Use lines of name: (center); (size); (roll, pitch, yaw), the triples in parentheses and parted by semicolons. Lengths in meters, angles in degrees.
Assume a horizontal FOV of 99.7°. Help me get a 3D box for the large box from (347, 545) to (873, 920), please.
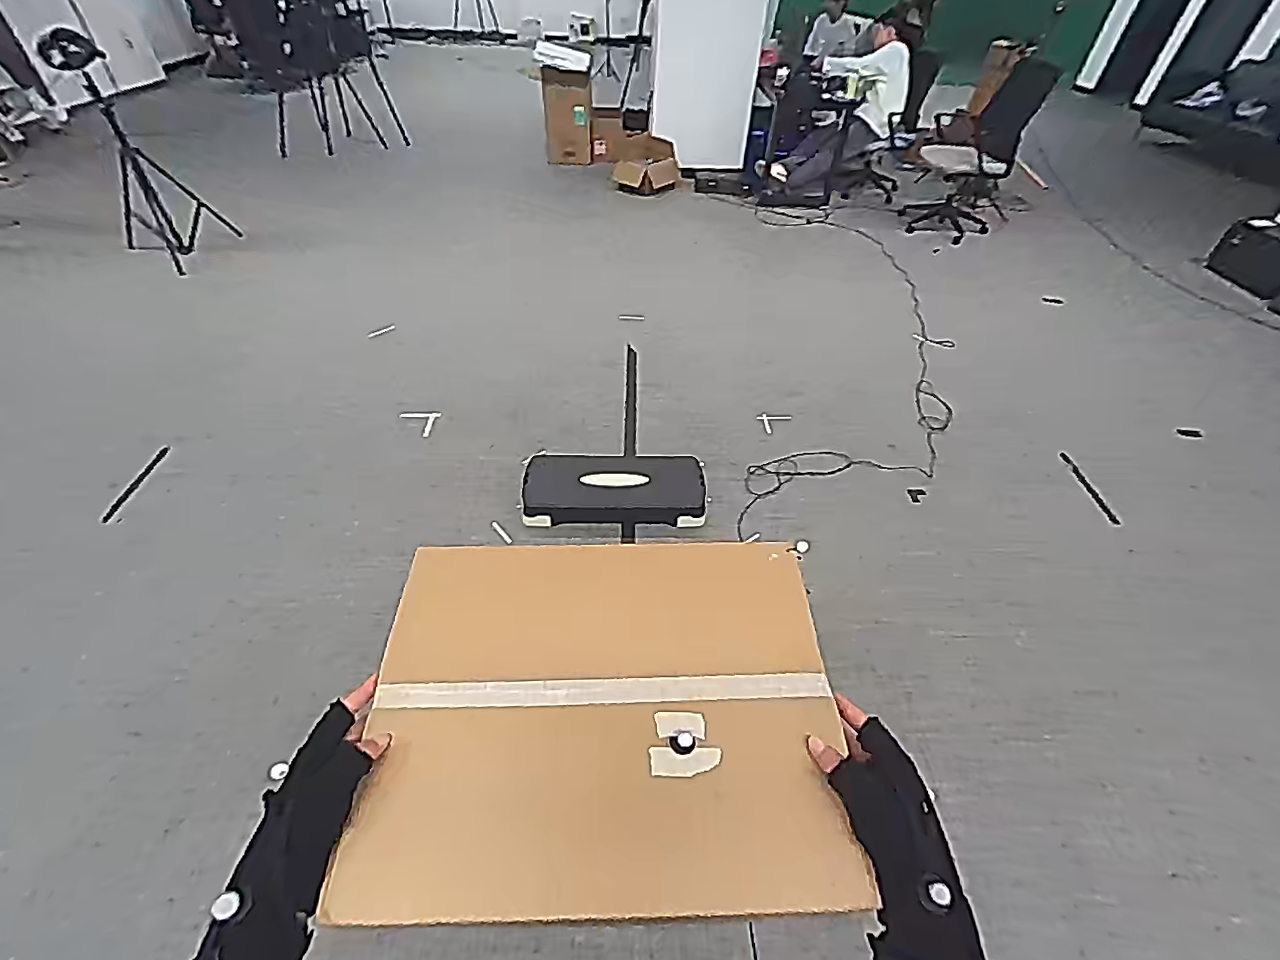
large box: (-0.027, 0.287, 0.610); (0.408, 0.320, 0.320); (0, 51, -2)
